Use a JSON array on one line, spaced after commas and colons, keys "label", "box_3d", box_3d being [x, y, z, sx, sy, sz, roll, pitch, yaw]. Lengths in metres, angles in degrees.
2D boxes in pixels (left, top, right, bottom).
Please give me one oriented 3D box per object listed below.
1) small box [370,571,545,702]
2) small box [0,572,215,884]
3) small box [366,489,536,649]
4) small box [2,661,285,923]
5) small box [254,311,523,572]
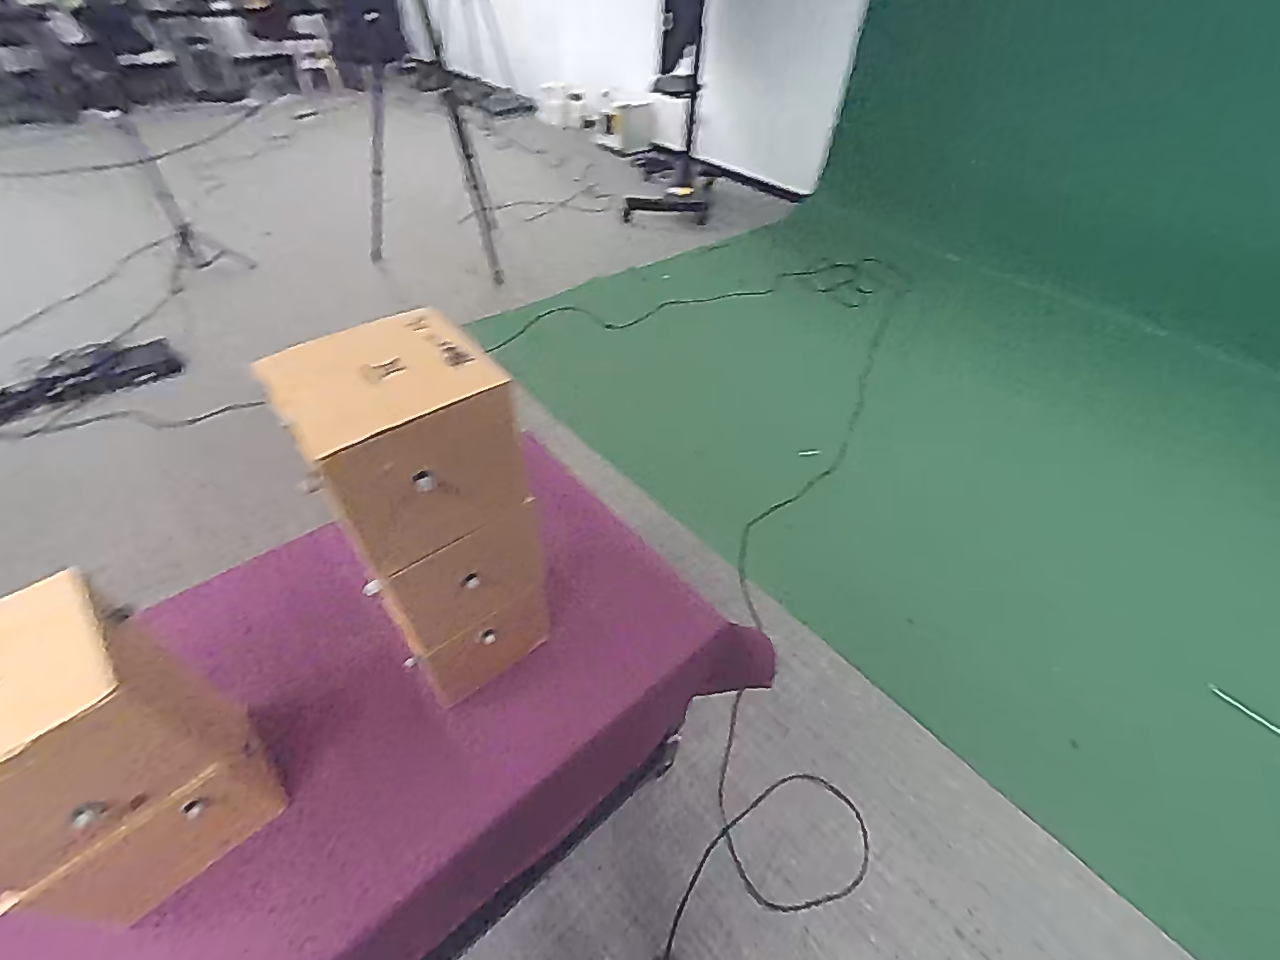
[{"label": "small box", "box_3d": [-0.255, 0.187, 0.791, 0.179, 0.176, 0.168, -30, 55, -29]}, {"label": "small box", "box_3d": [-0.548, 0.228, 0.503, 0.168, 0.176, 0.179, -34, 56, -31]}, {"label": "small box", "box_3d": [-0.243, 0.072, 0.674, 0.179, 0.176, 0.168, -31, 56, -28]}, {"label": "small box", "box_3d": [-0.552, 0.352, 0.613, 0.168, 0.176, 0.179, 37, 53, 28]}, {"label": "small box", "box_3d": [-0.240, -0.039, 0.552, 0.179, 0.176, 0.168, -31, 56, -28]}]
